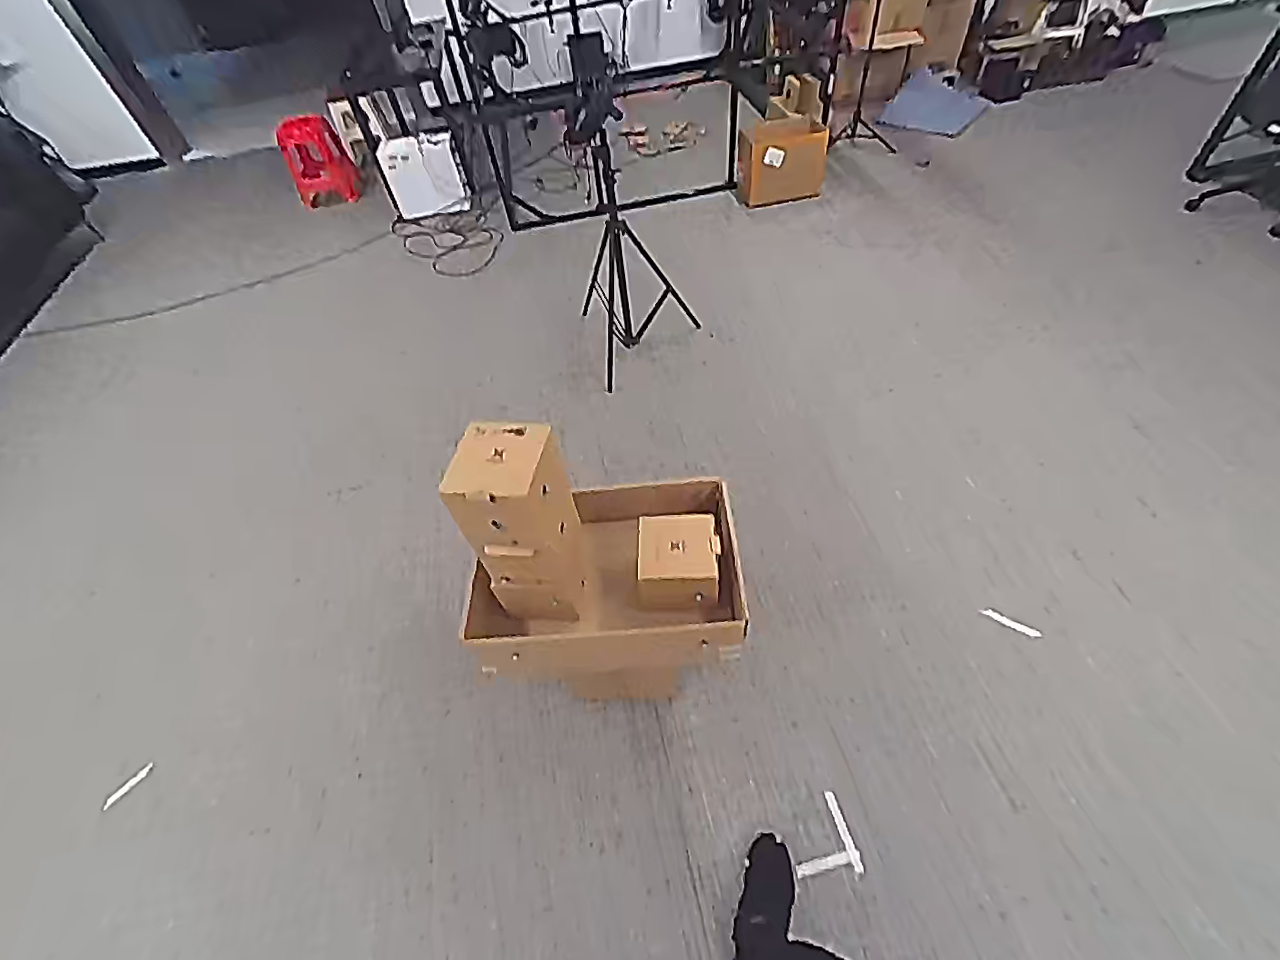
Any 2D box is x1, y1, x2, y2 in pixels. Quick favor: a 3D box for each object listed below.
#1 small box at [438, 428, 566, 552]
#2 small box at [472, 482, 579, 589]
[{"bbox_3d":[-0.251,0.022,1.037,0.168,0.176,0.179,4,52,10],"label":"small box"},{"bbox_3d":[-0.236,0.122,1.167,0.168,0.176,0.179,1,50,8],"label":"small box"}]
